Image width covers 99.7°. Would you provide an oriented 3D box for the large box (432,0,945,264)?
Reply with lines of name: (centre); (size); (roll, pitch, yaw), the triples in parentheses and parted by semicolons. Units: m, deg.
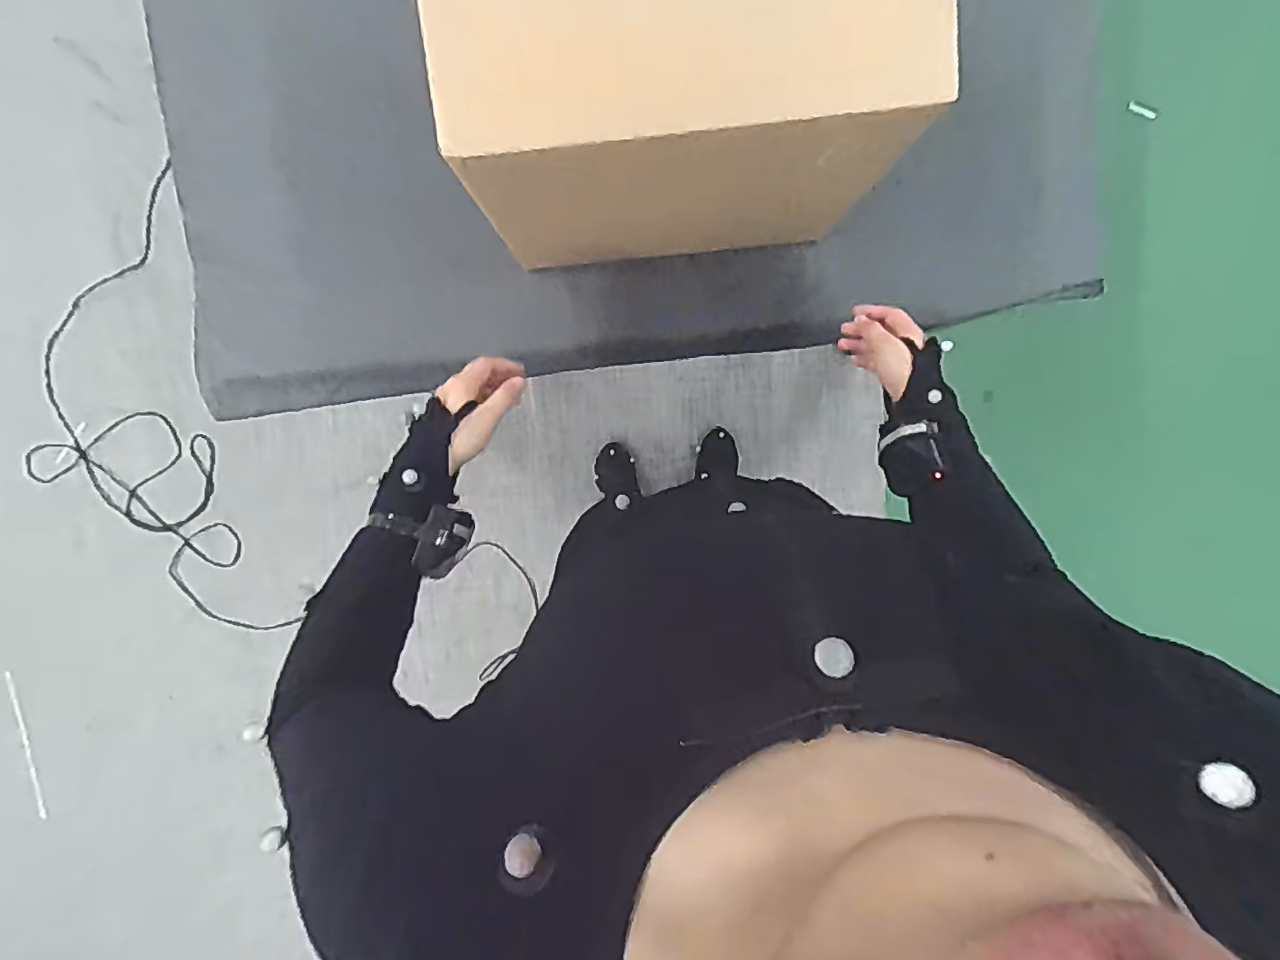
large box: (0.027, -0.448, 0.565); (0.408, 0.320, 0.320); (-6, 97, 0)
